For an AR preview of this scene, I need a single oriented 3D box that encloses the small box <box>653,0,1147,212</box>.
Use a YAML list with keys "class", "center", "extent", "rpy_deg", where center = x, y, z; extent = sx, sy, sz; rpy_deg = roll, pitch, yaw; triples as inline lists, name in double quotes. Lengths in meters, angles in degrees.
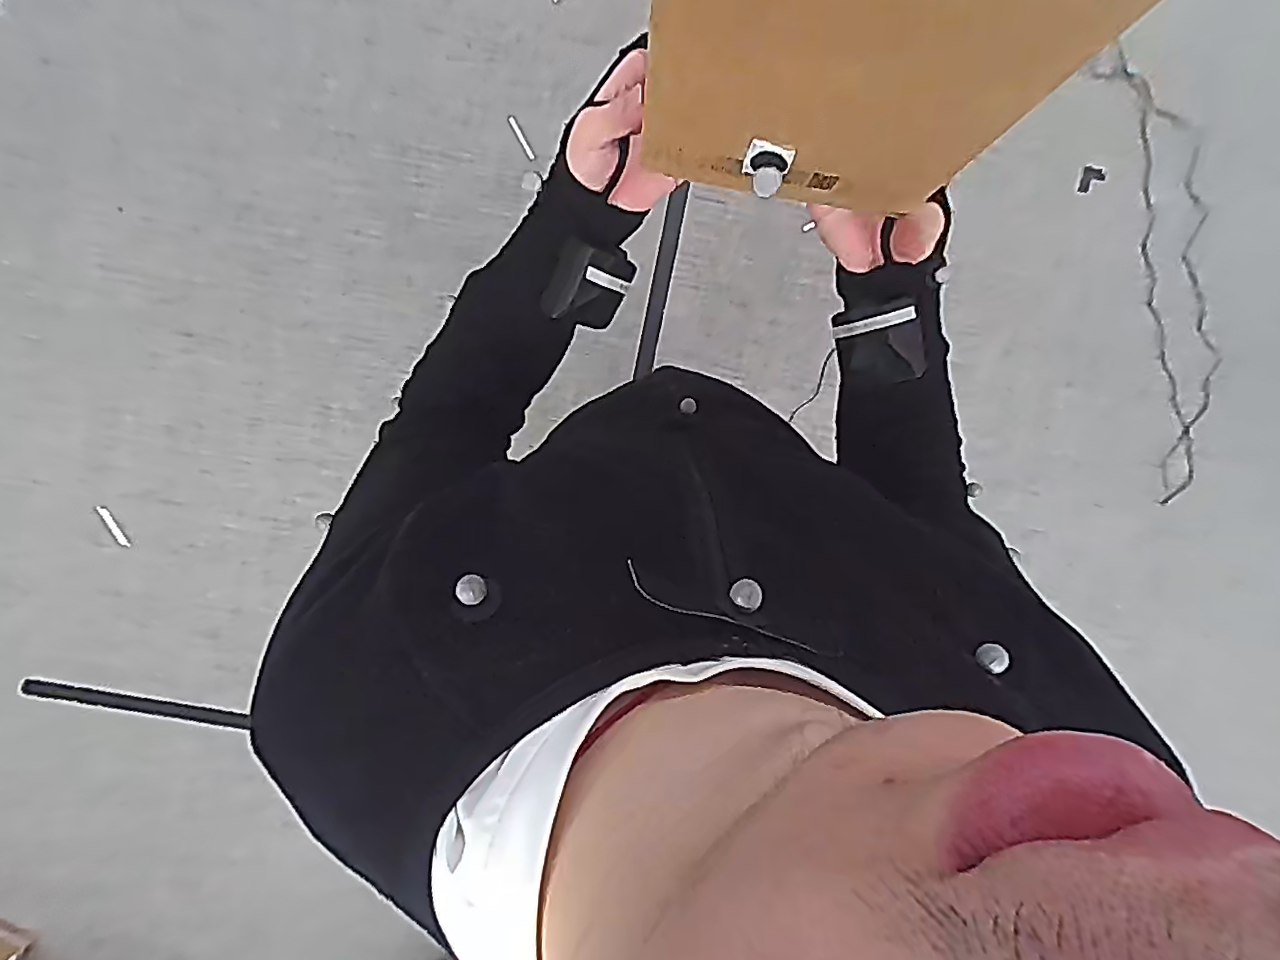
- class: "small box"
  center: [0.099, -0.259, 0.251]
  extent: [0.168, 0.176, 0.179]
  rpy_deg: [8, 93, -2]
